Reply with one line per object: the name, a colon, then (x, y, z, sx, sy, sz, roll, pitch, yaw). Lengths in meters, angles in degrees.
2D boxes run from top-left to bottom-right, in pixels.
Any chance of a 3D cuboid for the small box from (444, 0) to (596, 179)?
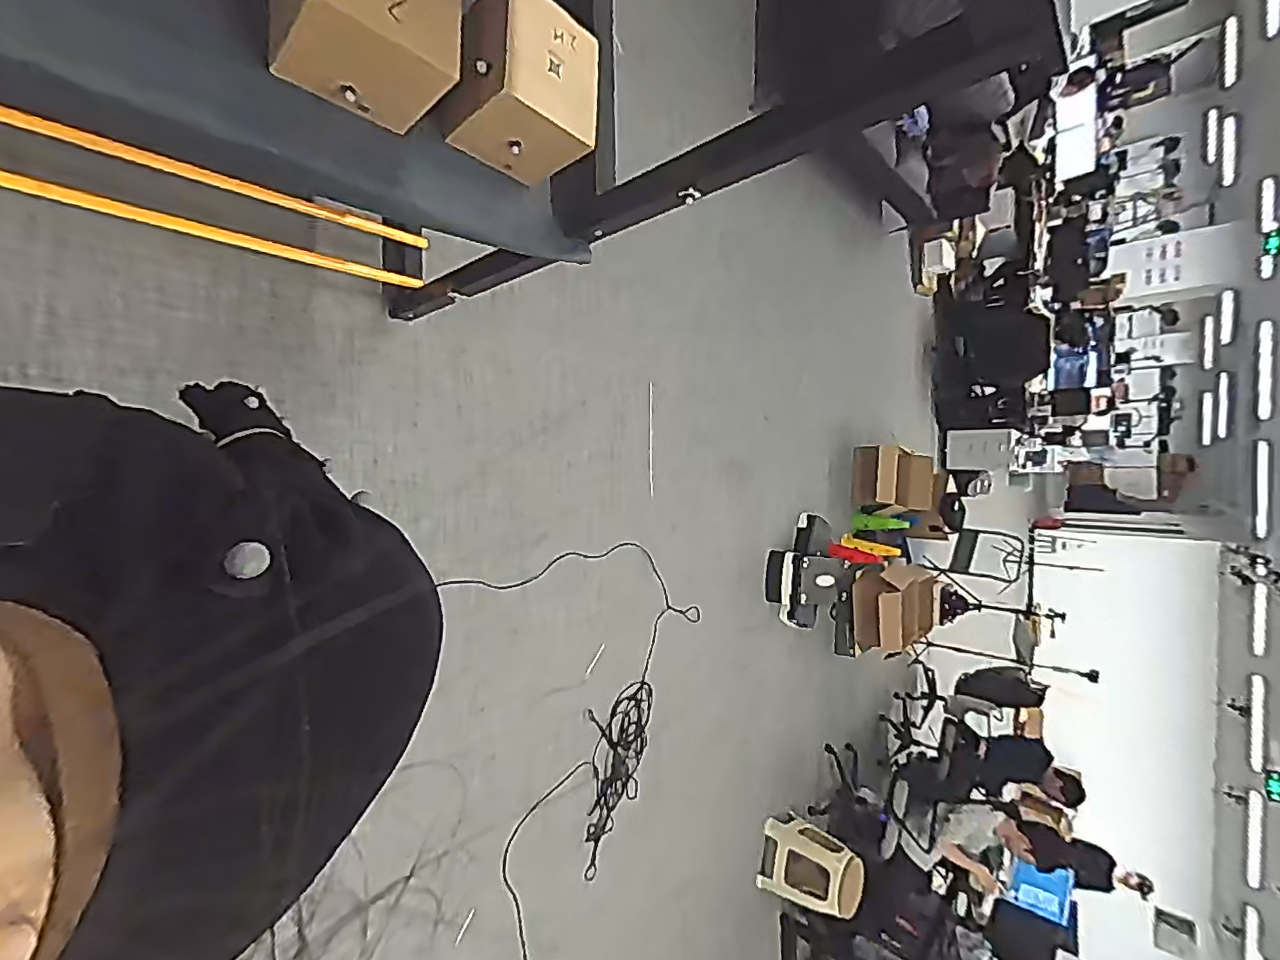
small box: (-0.186, -0.604, 0.832, 0.168, 0.176, 0.179, 4, 87, -48)
